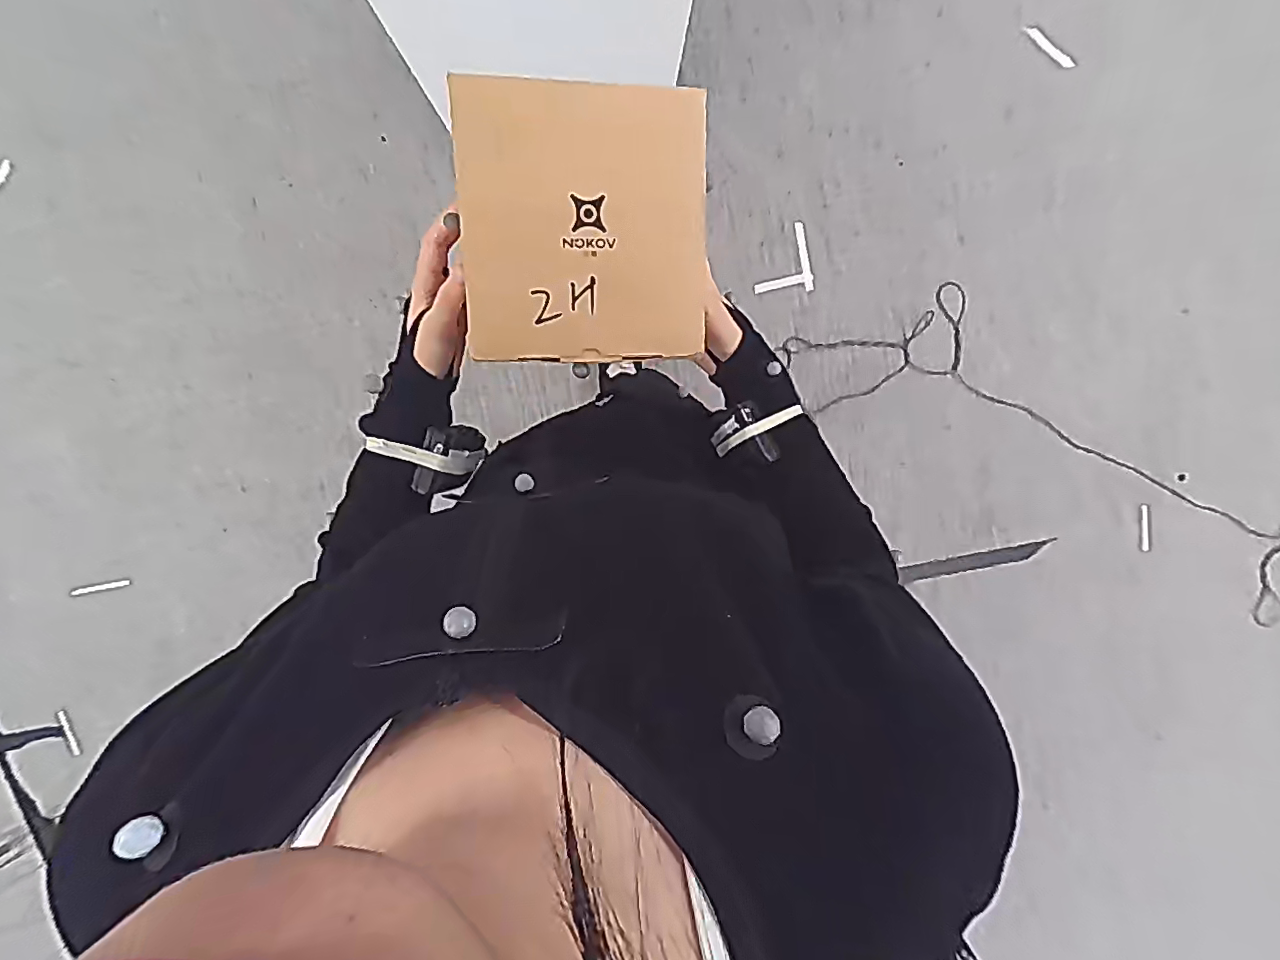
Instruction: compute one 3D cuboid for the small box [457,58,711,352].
[{"bbox_3d":[-0.046,-0.196,0.439,0.168,0.176,0.179,-3,104,-9],"label":"small box"}]
